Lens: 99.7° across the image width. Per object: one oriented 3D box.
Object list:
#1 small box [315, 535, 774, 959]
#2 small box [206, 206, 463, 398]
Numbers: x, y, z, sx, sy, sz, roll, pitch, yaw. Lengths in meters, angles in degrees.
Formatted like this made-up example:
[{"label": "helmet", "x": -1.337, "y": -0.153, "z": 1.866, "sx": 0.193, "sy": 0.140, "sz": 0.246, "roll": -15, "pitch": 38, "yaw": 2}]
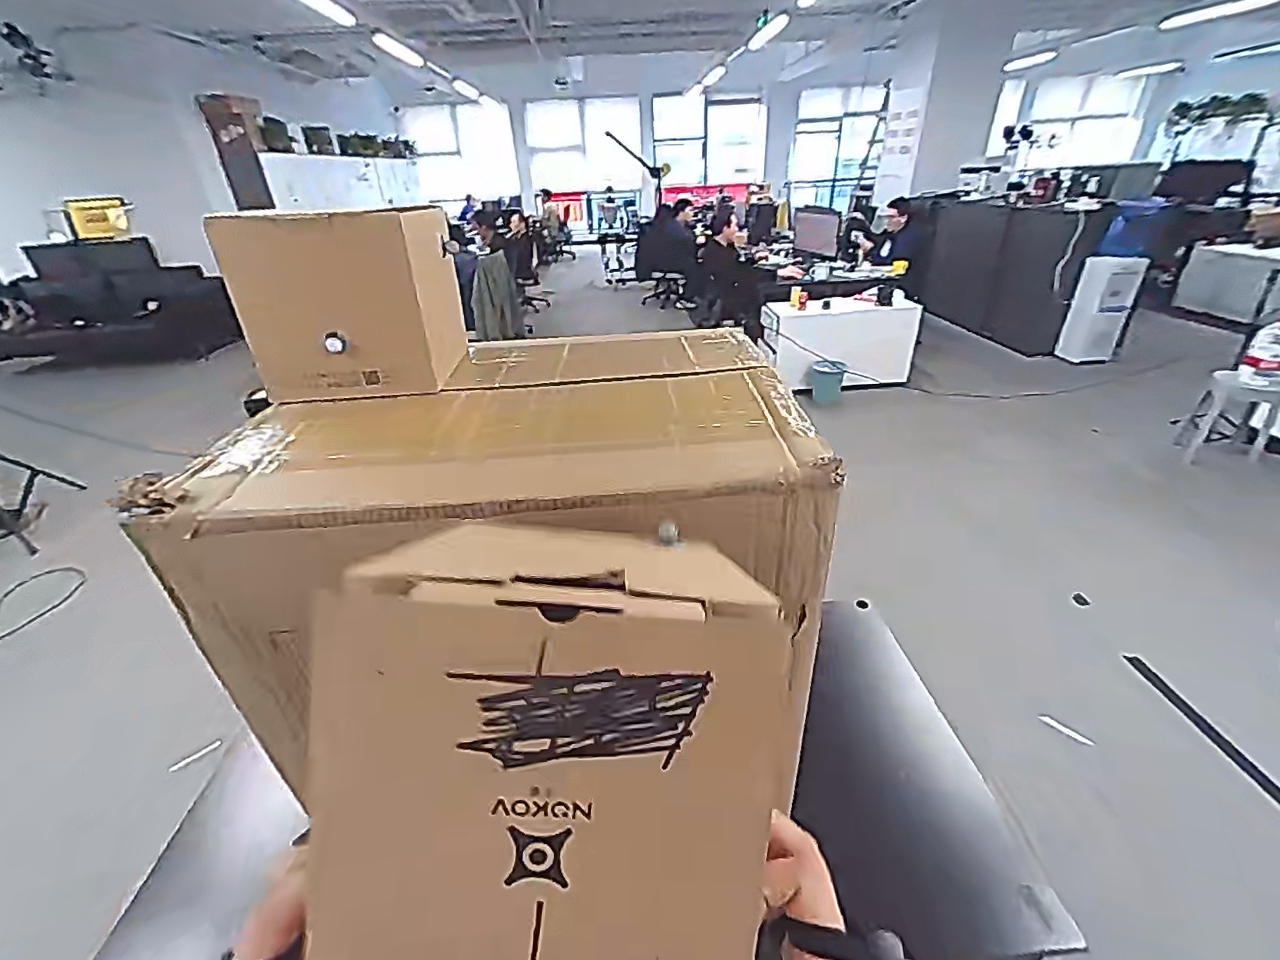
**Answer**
[{"label": "small box", "x": -0.039, "y": 0.126, "z": 0.287, "sx": 0.168, "sy": 0.179, "sz": 0.176, "roll": 5, "pitch": 0, "yaw": -2}, {"label": "small box", "x": -0.296, "y": -0.194, "z": 0.575, "sx": 0.168, "sy": 0.176, "sz": 0.179, "roll": -5, "pitch": 28, "yaw": -4}]
